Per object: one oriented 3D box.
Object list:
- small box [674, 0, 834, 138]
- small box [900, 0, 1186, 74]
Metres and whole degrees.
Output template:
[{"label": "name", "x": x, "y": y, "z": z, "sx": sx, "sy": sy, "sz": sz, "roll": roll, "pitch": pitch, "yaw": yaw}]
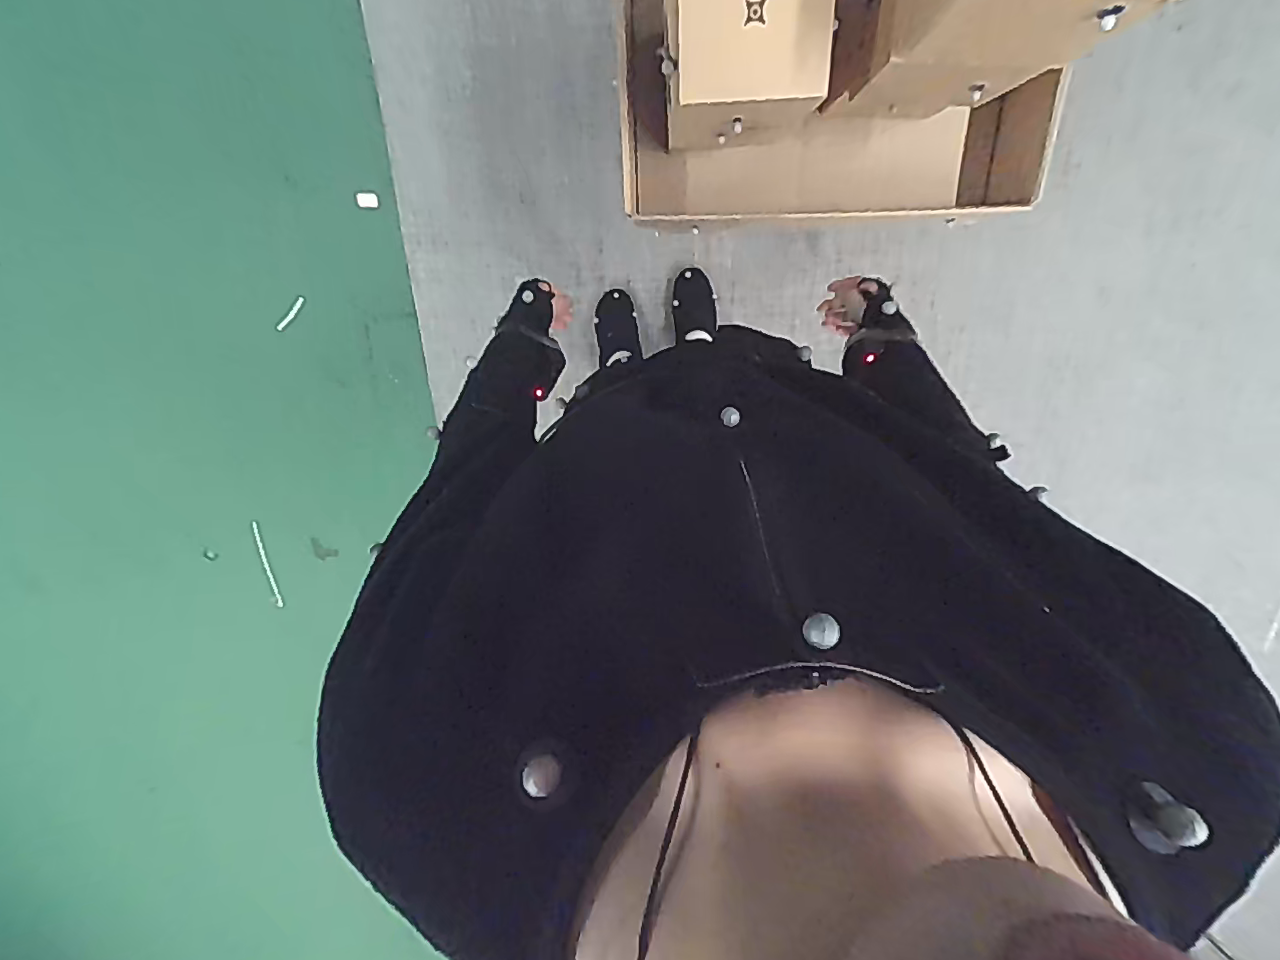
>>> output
[{"label": "small box", "x": 0.126, "y": -0.521, "z": 0.643, "sx": 0.168, "sy": 0.176, "sz": 0.179, "roll": -1, "pitch": 112, "yaw": 3}, {"label": "small box", "x": 0.357, "y": -0.483, "z": 0.473, "sx": 0.179, "sy": 0.176, "sz": 0.168, "roll": 5, "pitch": 111, "yaw": 2}]
